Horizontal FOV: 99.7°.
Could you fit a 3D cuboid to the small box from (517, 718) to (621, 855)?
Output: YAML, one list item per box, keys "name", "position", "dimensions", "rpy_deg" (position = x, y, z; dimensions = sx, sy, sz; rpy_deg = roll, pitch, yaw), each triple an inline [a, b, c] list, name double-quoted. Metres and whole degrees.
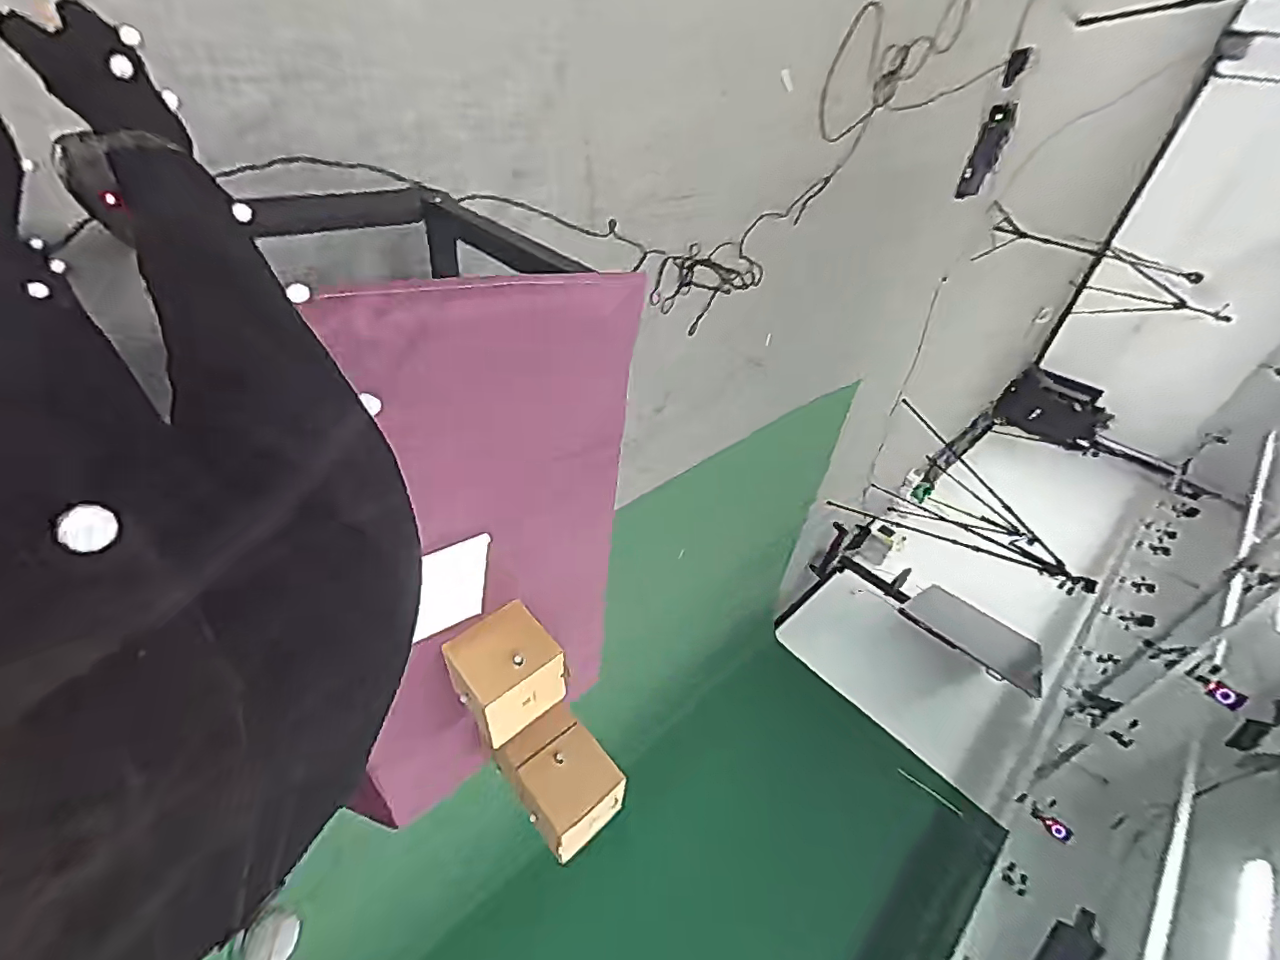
- name: "small box"
  position: [-0.167, 0.686, 1.222]
  dimensions: [0.179, 0.176, 0.168]
  rpy_deg: [-26, 140, -35]

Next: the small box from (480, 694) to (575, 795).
- name: "small box"
  position: [-0.278, 0.606, 1.313]
  dimensions: [0.179, 0.176, 0.168]
  rpy_deg: [-27, 140, -36]

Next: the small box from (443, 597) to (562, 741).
- name: "small box"
  position: [-0.279, 0.375, 1.091]
  dimensions: [0.179, 0.176, 0.168]
  rpy_deg: [-30, 141, -34]
